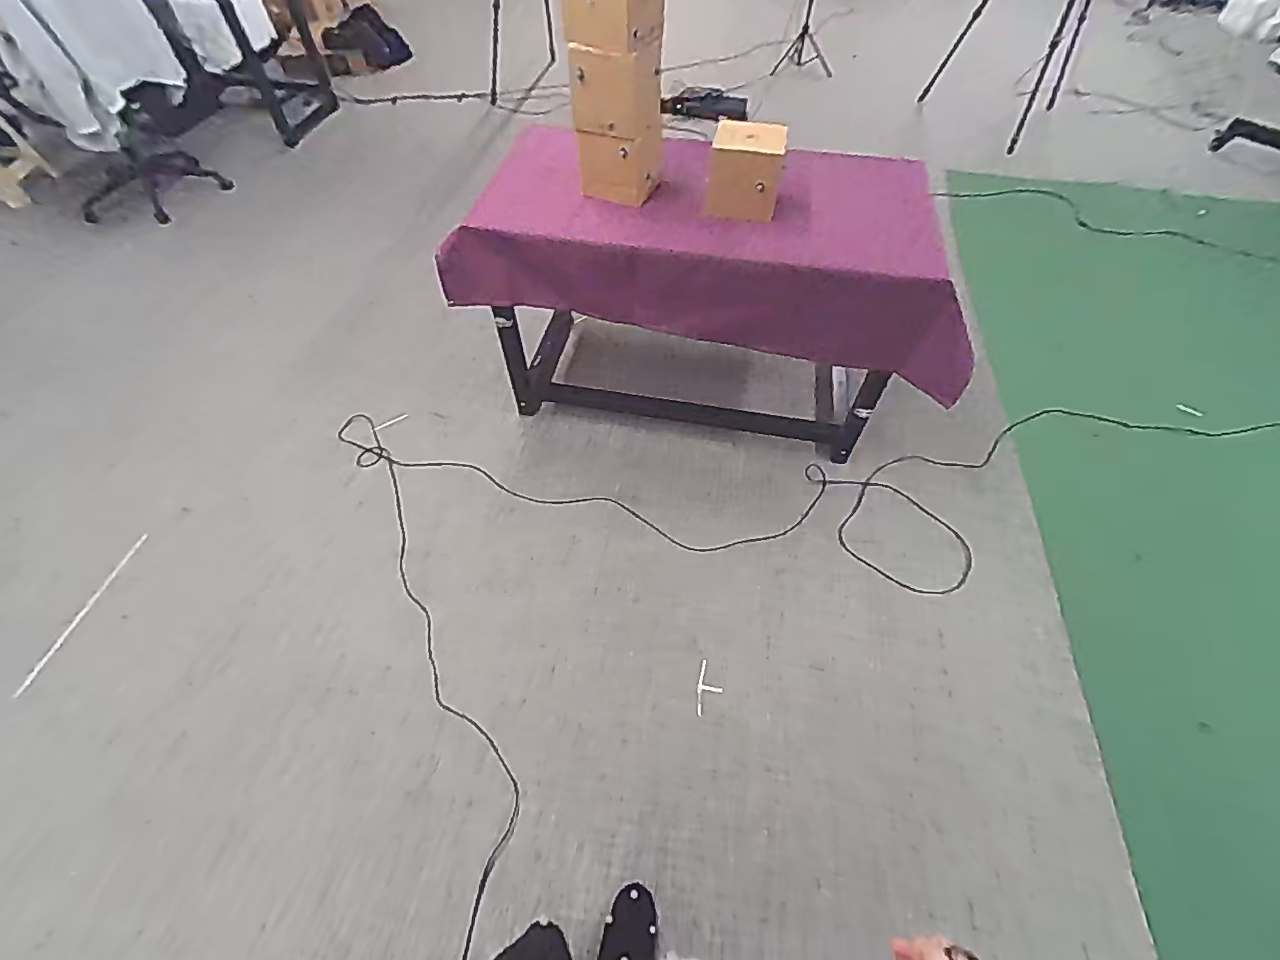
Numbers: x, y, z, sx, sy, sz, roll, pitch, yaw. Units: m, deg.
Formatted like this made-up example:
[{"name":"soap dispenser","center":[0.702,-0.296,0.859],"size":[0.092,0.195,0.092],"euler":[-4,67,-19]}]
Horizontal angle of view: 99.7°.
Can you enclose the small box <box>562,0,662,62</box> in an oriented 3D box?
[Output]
[{"name":"small box","center":[-0.059,-1.059,1.201],"size":[0.179,0.176,0.168],"euler":[25,56,17]}]

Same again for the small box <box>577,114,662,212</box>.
[{"name":"small box","center":[-0.052,-0.850,1.456],"size":[0.179,0.176,0.168],"euler":[19,56,12]}]

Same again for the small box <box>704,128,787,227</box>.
[{"name":"small box","center":[0.271,-0.784,1.409],"size":[0.179,0.176,0.168],"euler":[11,54,8]}]
